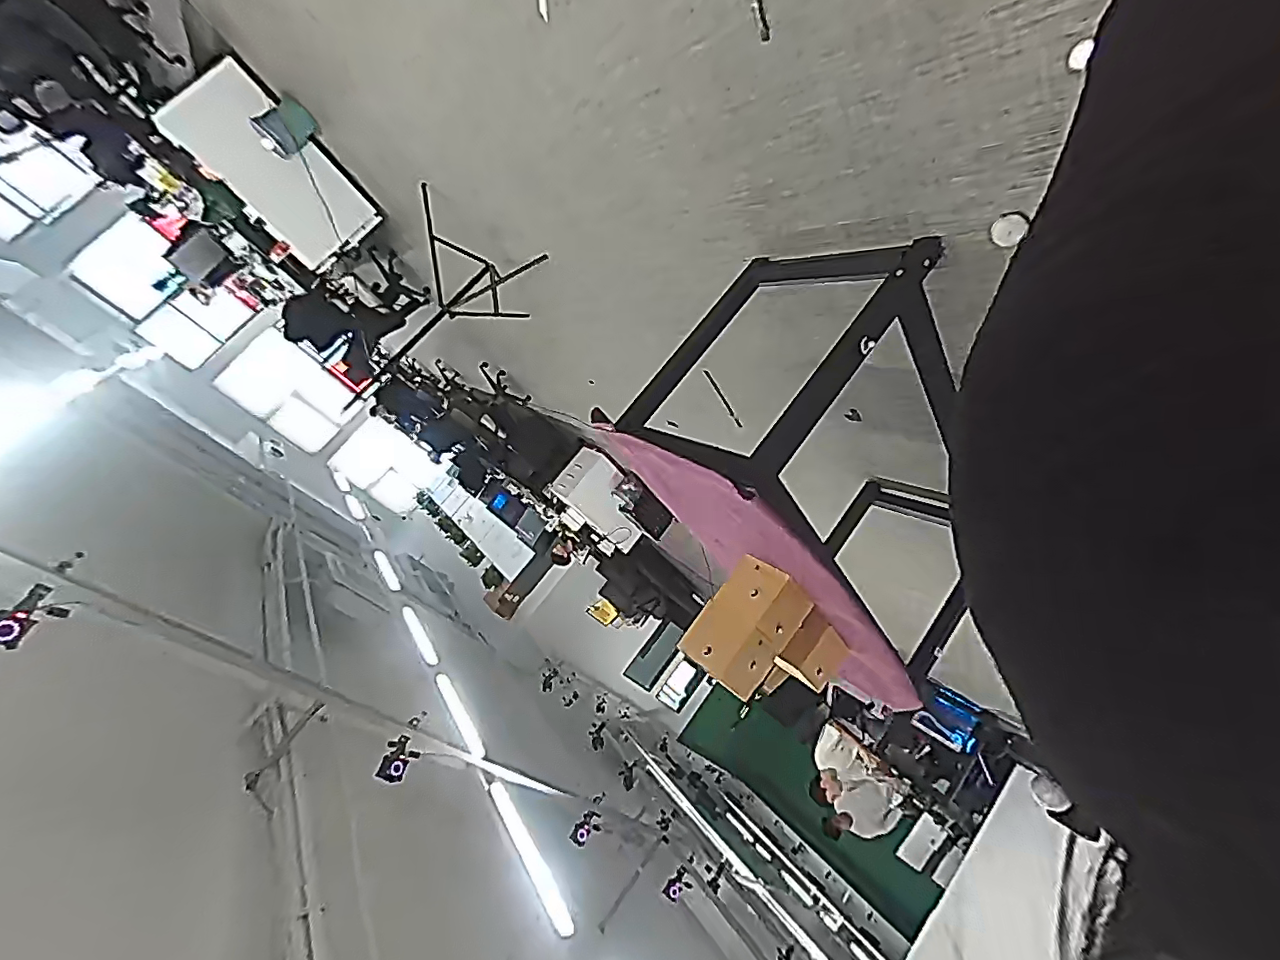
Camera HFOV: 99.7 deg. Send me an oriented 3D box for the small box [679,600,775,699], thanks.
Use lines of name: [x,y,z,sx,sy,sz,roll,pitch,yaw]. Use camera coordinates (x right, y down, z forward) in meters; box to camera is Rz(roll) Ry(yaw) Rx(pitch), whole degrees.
small box: [0.248,0.459,1.488,0.179,0.176,0.168,25,162,52]

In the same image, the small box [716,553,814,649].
small box: [0.351,0.332,1.510,0.168,0.176,0.179,25,162,52]

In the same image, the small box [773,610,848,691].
small box: [0.512,0.508,1.669,0.168,0.176,0.179,24,160,52]
